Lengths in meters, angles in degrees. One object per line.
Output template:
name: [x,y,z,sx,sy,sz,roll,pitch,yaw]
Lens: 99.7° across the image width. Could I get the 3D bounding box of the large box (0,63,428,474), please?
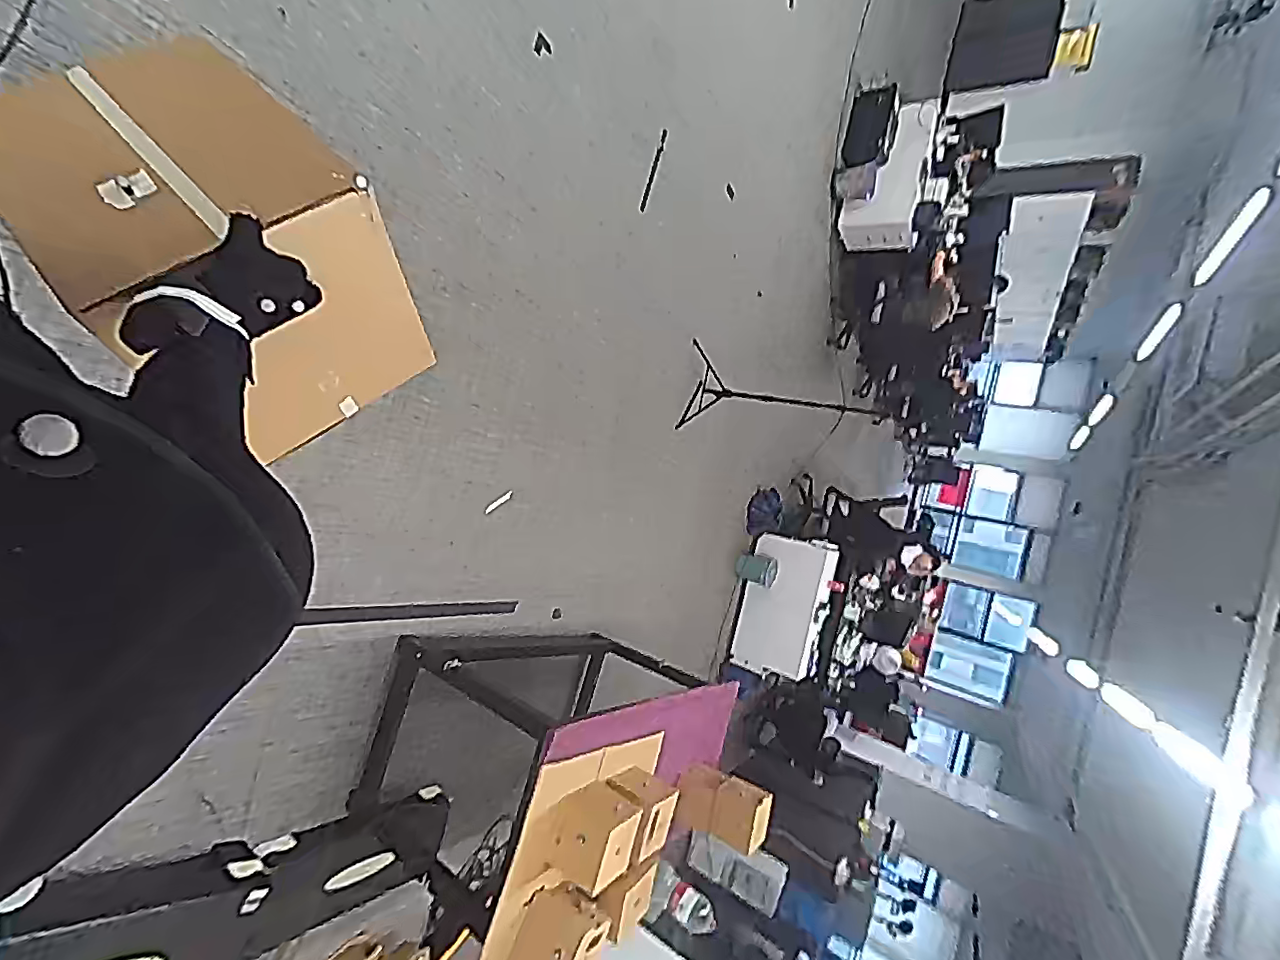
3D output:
large box: [-0.577,-0.288,0.760,0.320,0.408,0.320,-41,163,-23]
